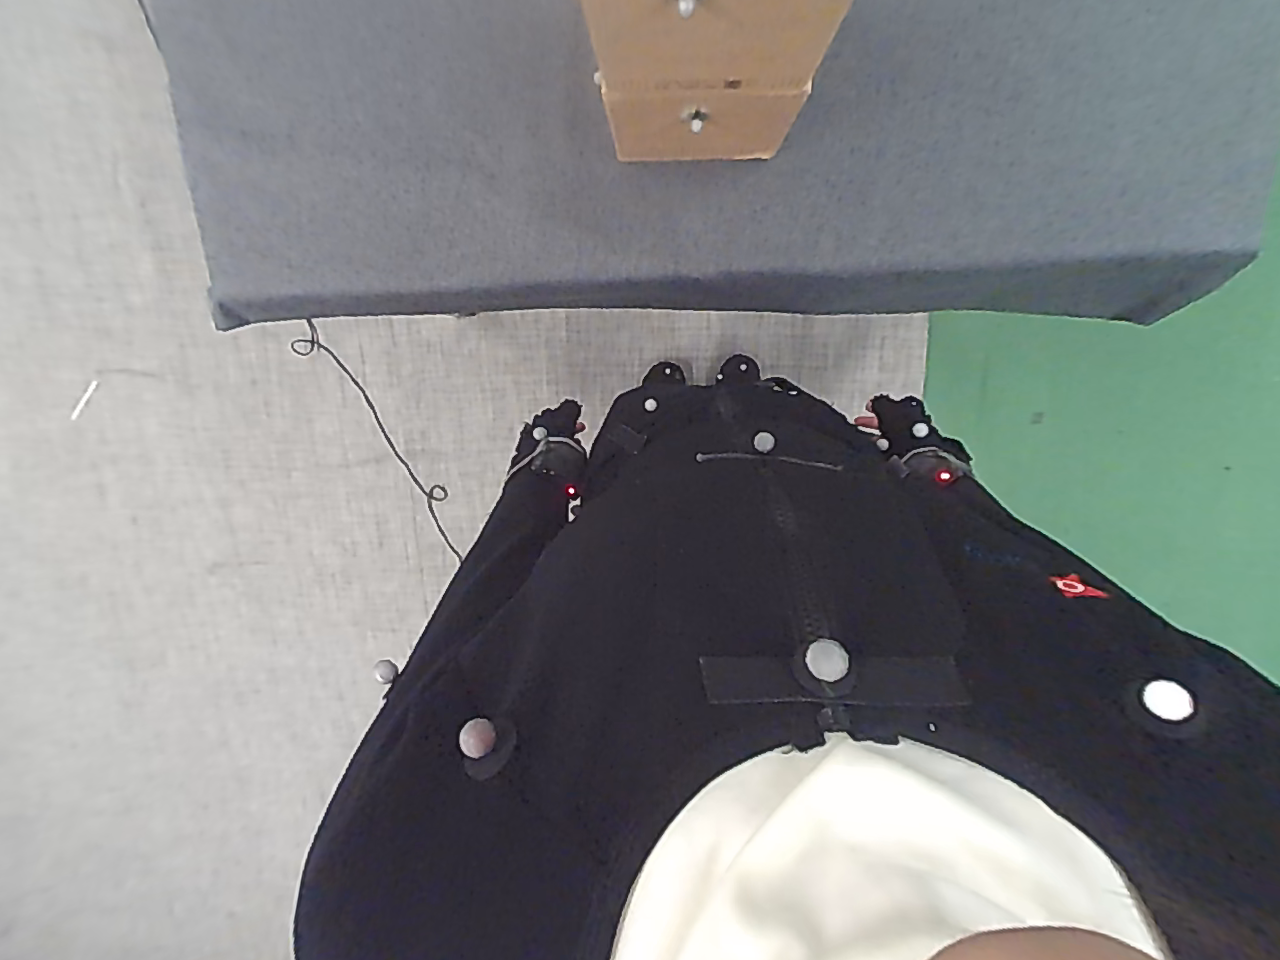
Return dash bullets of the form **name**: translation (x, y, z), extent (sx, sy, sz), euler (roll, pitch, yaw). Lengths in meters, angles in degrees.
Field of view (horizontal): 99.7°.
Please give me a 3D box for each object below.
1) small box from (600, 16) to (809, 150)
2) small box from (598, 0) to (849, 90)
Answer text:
- **small box**: translation (0.058, -0.432, 0.513), extent (0.179, 0.176, 0.168), euler (0, 105, 2)
- **small box**: translation (0.052, -0.395, 0.356), extent (0.168, 0.176, 0.179), euler (-1, 105, 3)
